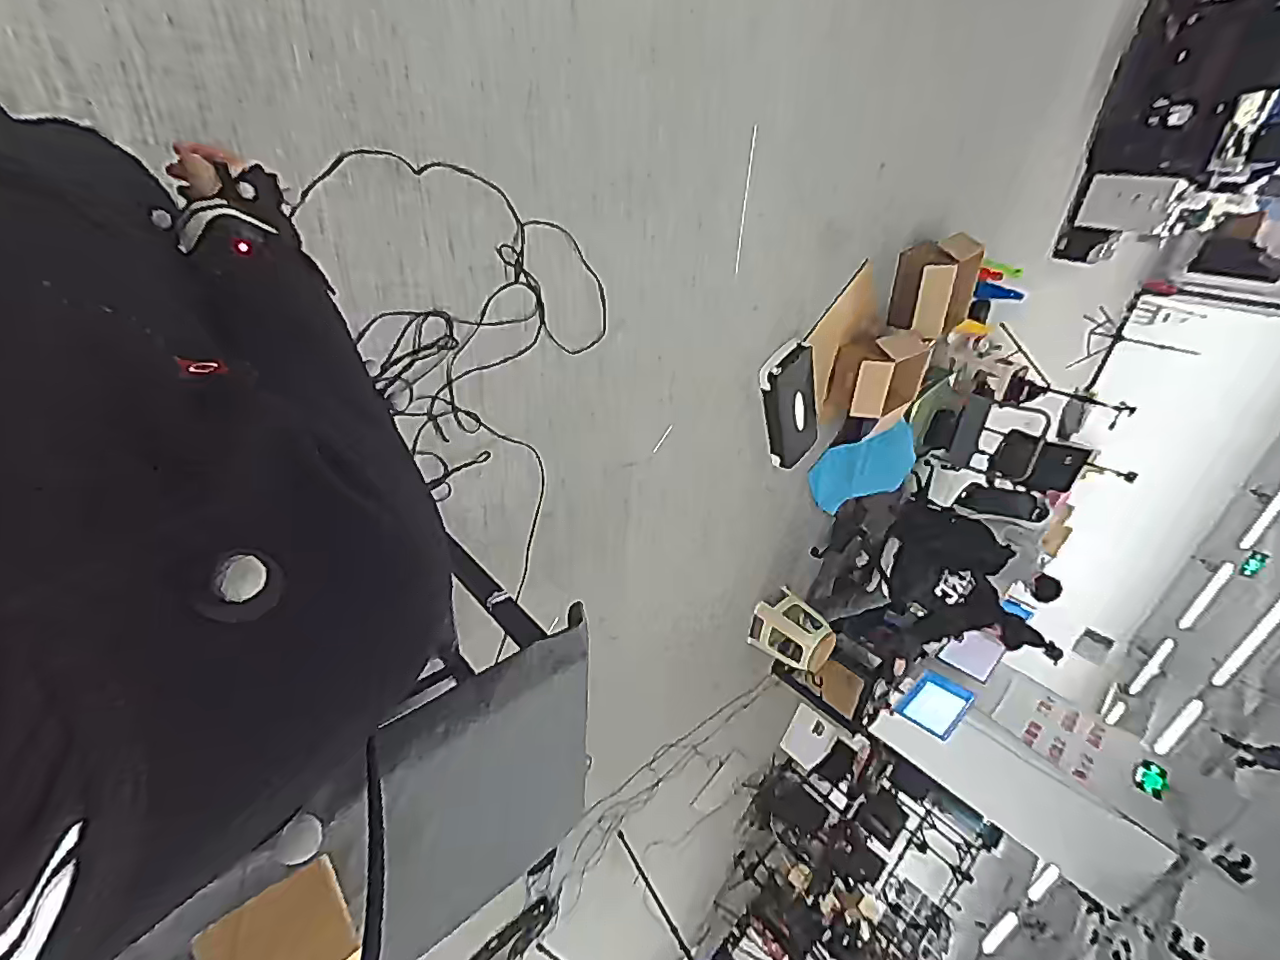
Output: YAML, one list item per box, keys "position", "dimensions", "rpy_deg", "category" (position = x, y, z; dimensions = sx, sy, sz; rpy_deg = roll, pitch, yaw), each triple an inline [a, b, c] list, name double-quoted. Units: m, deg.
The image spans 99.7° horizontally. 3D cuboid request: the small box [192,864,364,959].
- position: [-0.525, 0.731, 0.803]
  dimensions: [0.179, 0.176, 0.168]
  rpy_deg: [-21, 128, -38]
  category: "small box"
